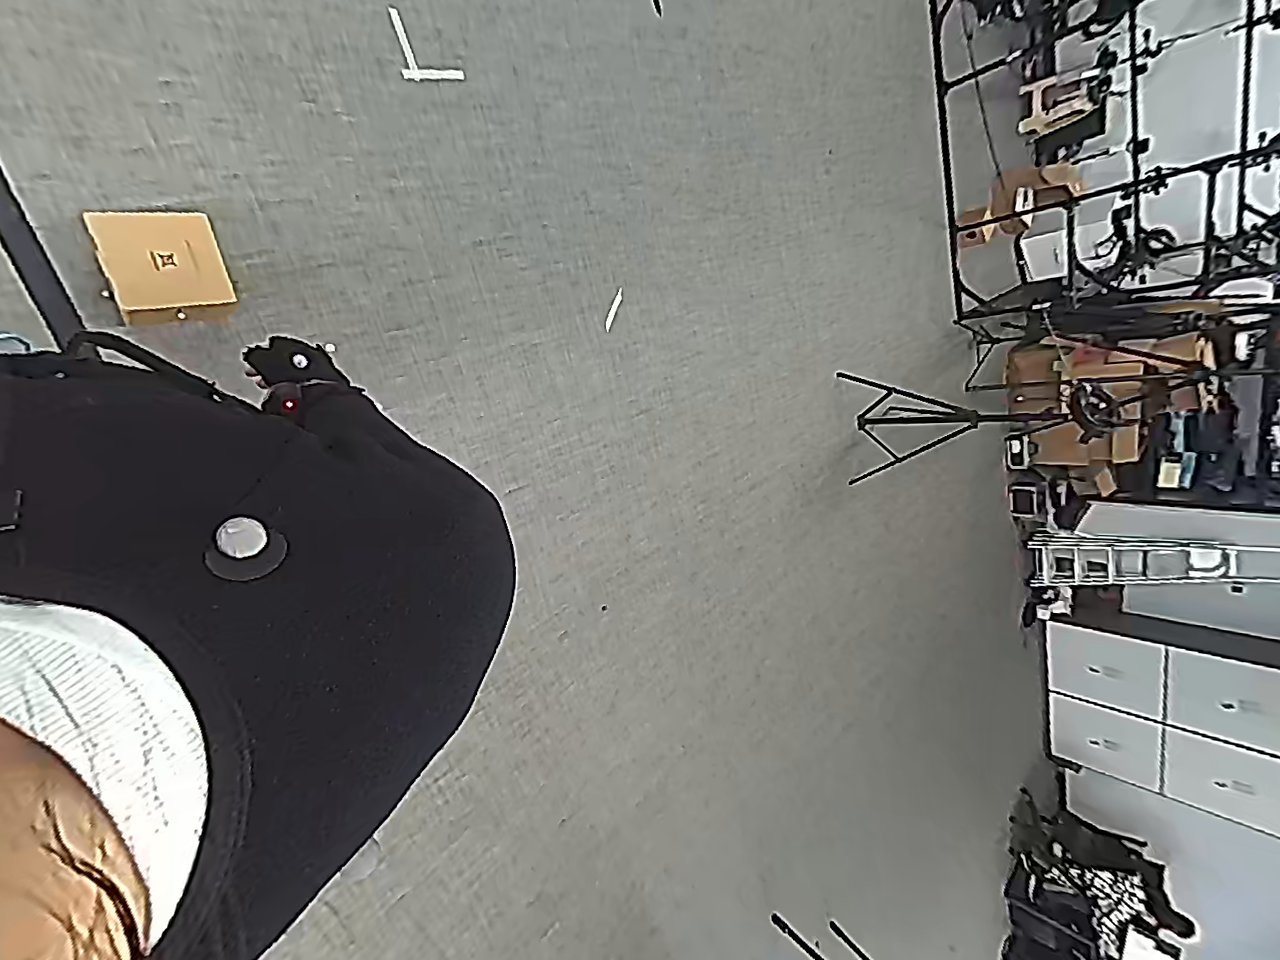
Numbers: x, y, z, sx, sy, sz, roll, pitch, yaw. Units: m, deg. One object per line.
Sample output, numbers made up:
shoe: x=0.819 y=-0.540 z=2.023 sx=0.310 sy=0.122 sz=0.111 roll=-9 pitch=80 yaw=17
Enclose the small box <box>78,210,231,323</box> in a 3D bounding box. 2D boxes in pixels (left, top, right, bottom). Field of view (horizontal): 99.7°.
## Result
small box: x=-0.925 y=-0.406 z=1.043 sx=0.179 sy=0.176 sz=0.168 roll=-22 pitch=107 yaw=-39
